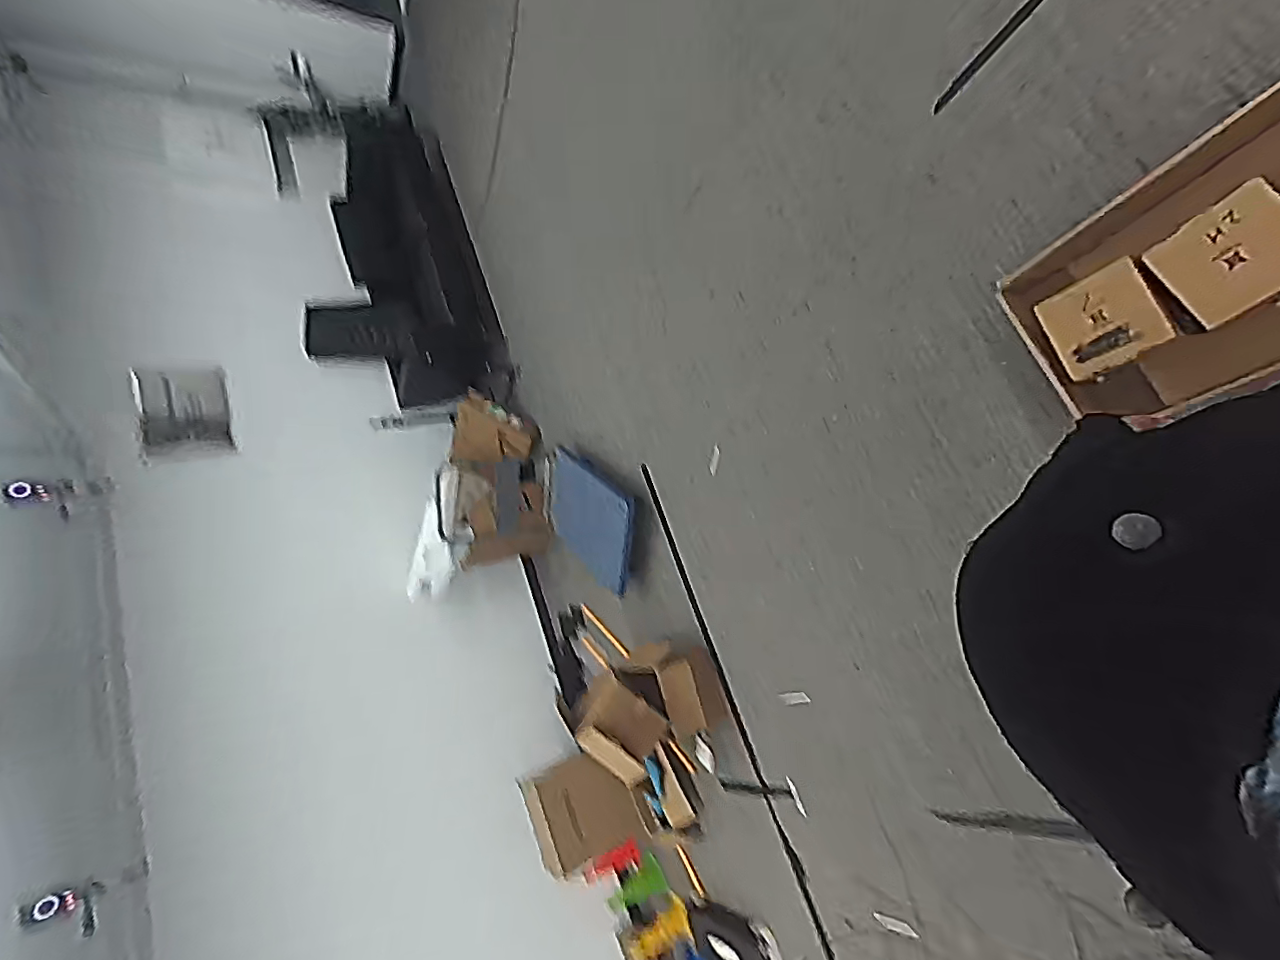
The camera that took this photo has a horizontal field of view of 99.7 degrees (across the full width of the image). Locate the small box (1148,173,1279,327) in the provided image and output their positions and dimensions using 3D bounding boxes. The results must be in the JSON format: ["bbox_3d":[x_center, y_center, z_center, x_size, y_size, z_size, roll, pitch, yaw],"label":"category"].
[{"bbox_3d":[1.037,-0.382,0.917,0.168,0.176,0.179,-48,59,50],"label":"small box"}]
